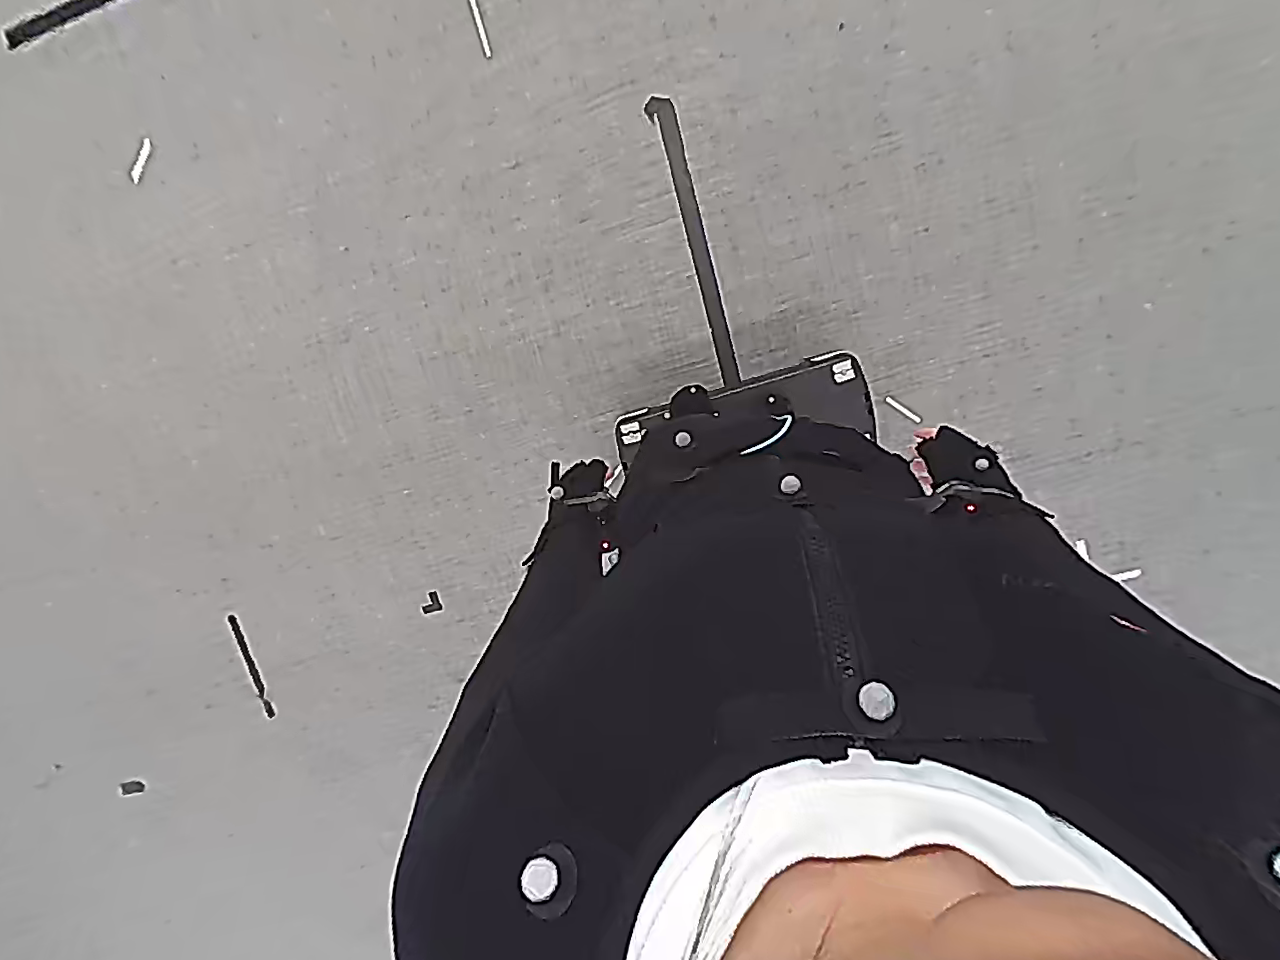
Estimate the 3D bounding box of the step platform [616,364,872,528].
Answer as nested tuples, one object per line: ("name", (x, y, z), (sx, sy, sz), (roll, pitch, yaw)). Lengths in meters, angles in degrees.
("step platform", (0.278, -0.092, 1.515), (0.684, 0.204, 0.286), (-17, 99, 7))
